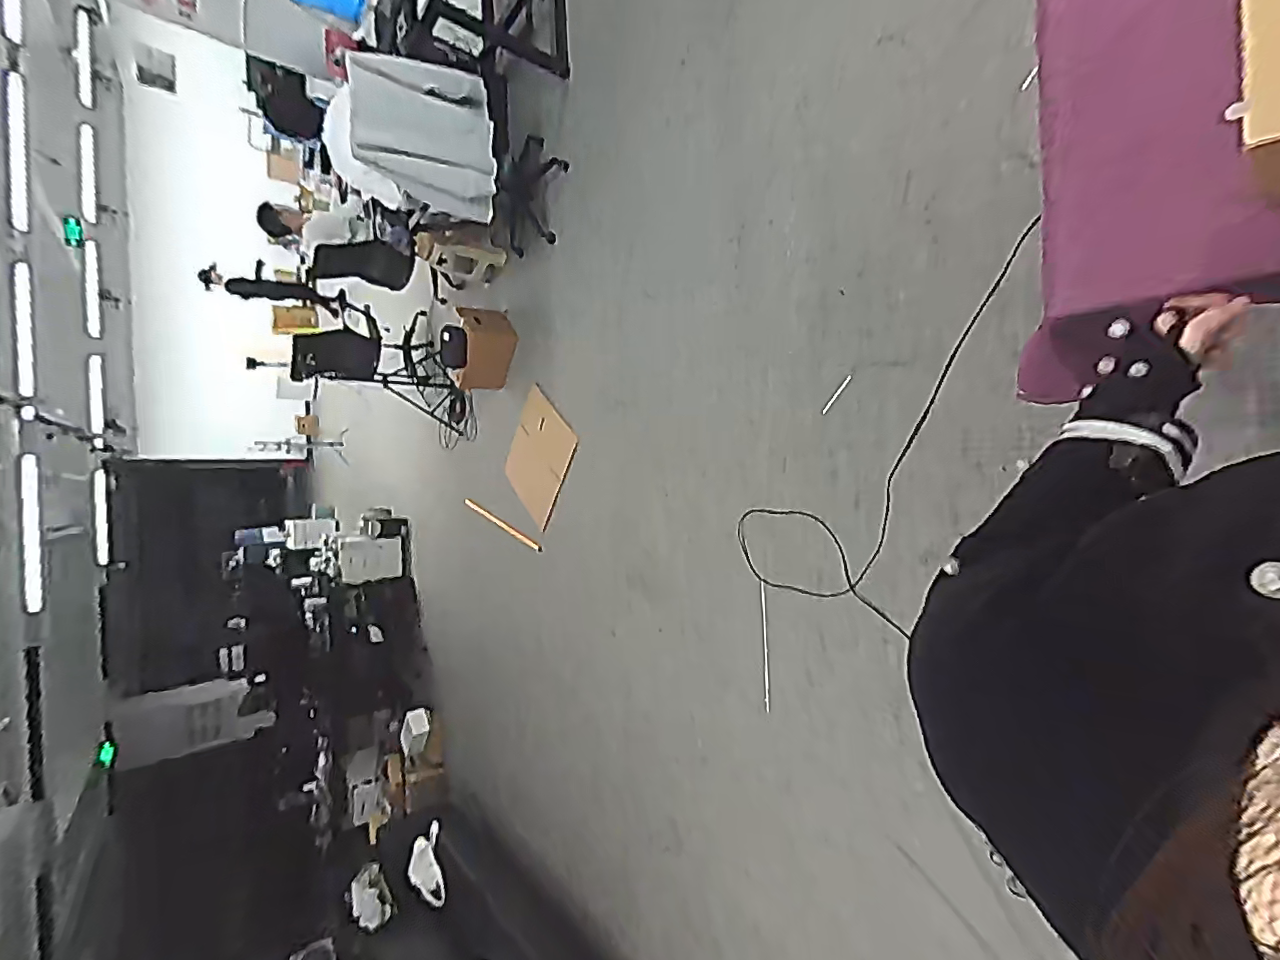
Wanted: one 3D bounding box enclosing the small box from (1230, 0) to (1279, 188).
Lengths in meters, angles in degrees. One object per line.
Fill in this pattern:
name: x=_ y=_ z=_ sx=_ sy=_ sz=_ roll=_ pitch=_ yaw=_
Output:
small box: x=0.602 y=-0.361 z=0.431 sx=0.168 sy=0.176 sz=0.179 roll=0 pitch=91 yaw=51
